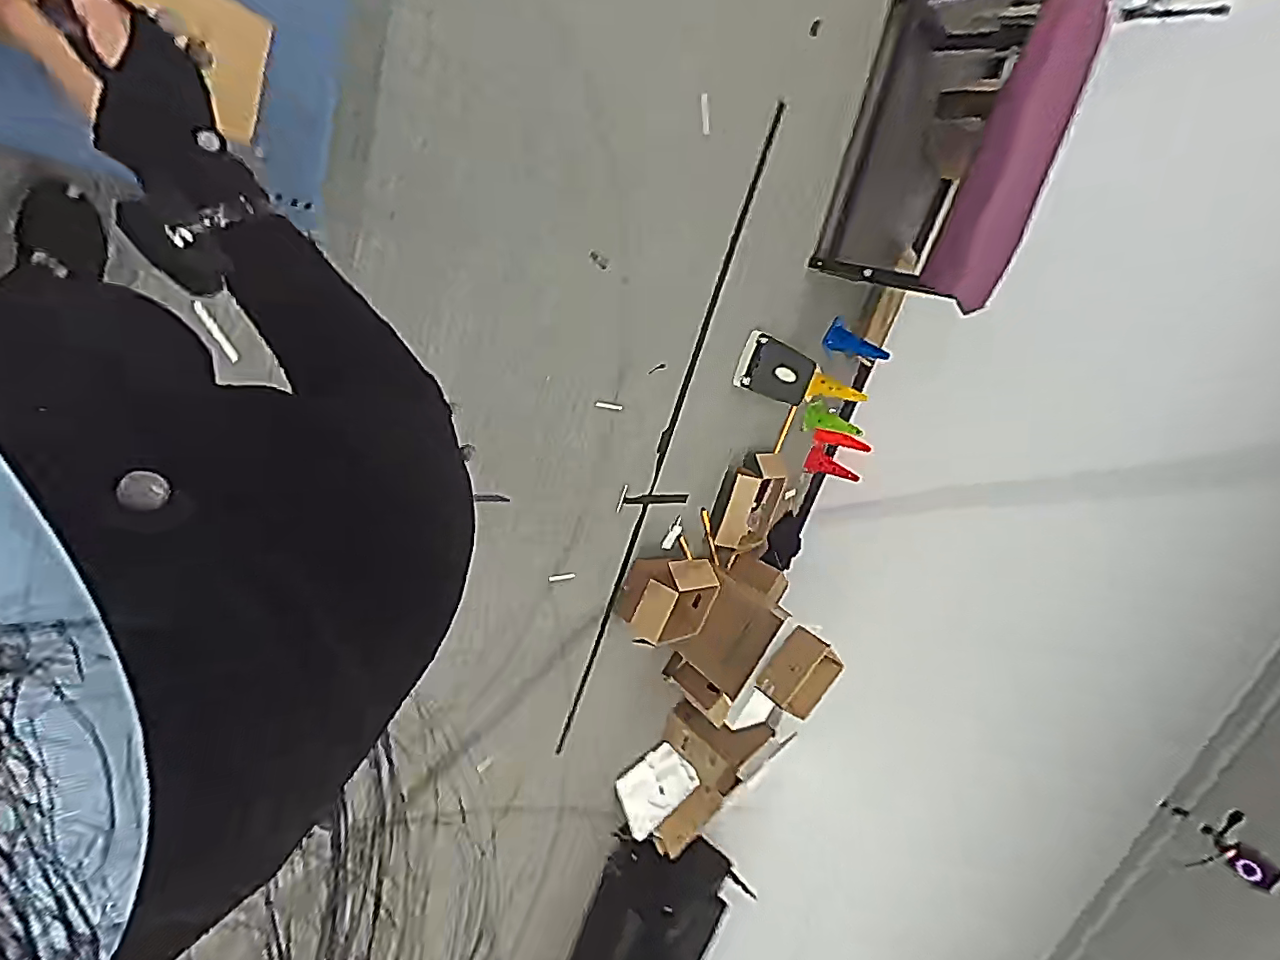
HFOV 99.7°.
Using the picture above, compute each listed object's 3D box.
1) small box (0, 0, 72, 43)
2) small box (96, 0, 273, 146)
[{"bbox_3d":[-0.456,-0.383,0.301,0.168,0.176,0.179,-11,124,-47],"label":"small box"},{"bbox_3d":[-0.682,-0.633,0.807,0.168,0.176,0.179,5,110,-51],"label":"small box"}]
